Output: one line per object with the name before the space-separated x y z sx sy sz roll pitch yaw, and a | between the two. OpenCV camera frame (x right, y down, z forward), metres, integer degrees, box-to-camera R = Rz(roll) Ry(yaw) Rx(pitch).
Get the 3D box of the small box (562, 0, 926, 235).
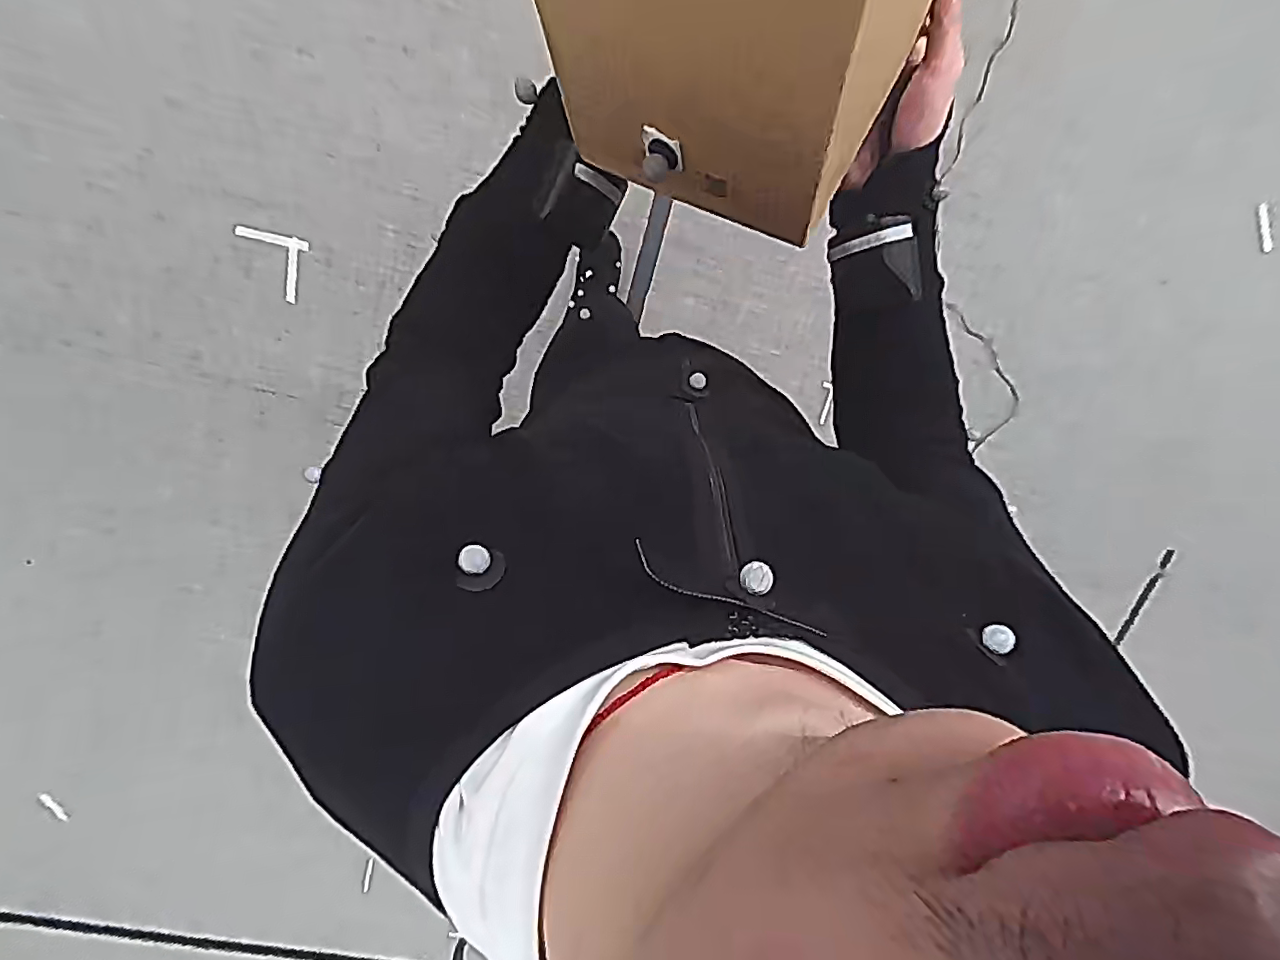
small box | 0.064 -0.278 0.292 0.168 0.176 0.179 27 83 13
